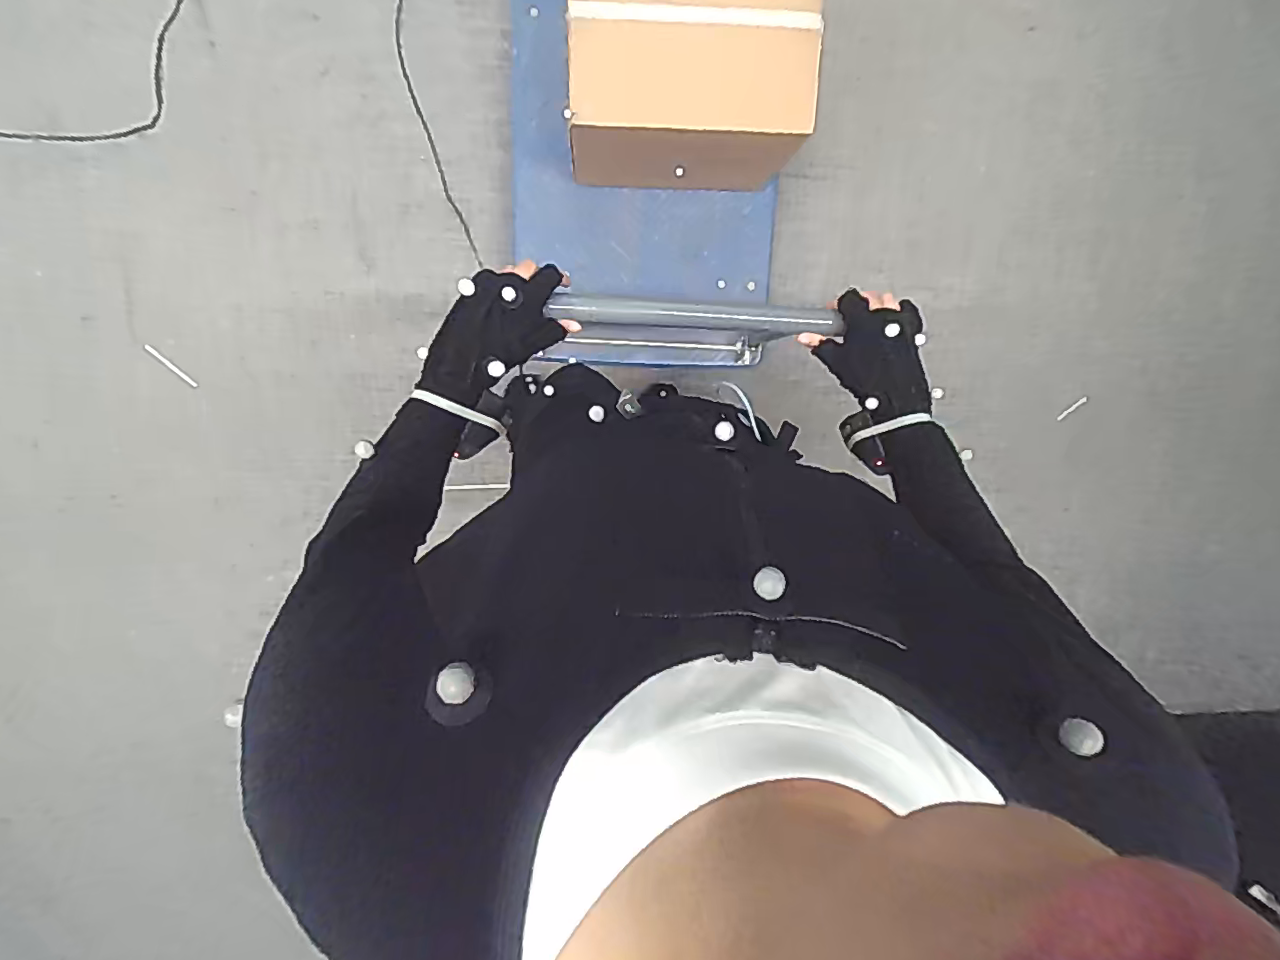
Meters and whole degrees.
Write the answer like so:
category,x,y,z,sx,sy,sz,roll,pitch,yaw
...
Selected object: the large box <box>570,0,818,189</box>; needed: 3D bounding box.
category,x,y,z,sx,sy,sz,roll,pitch,yaw
large box,0.079,-0.753,1.006,0.408,0.320,0.320,-1,101,-4
